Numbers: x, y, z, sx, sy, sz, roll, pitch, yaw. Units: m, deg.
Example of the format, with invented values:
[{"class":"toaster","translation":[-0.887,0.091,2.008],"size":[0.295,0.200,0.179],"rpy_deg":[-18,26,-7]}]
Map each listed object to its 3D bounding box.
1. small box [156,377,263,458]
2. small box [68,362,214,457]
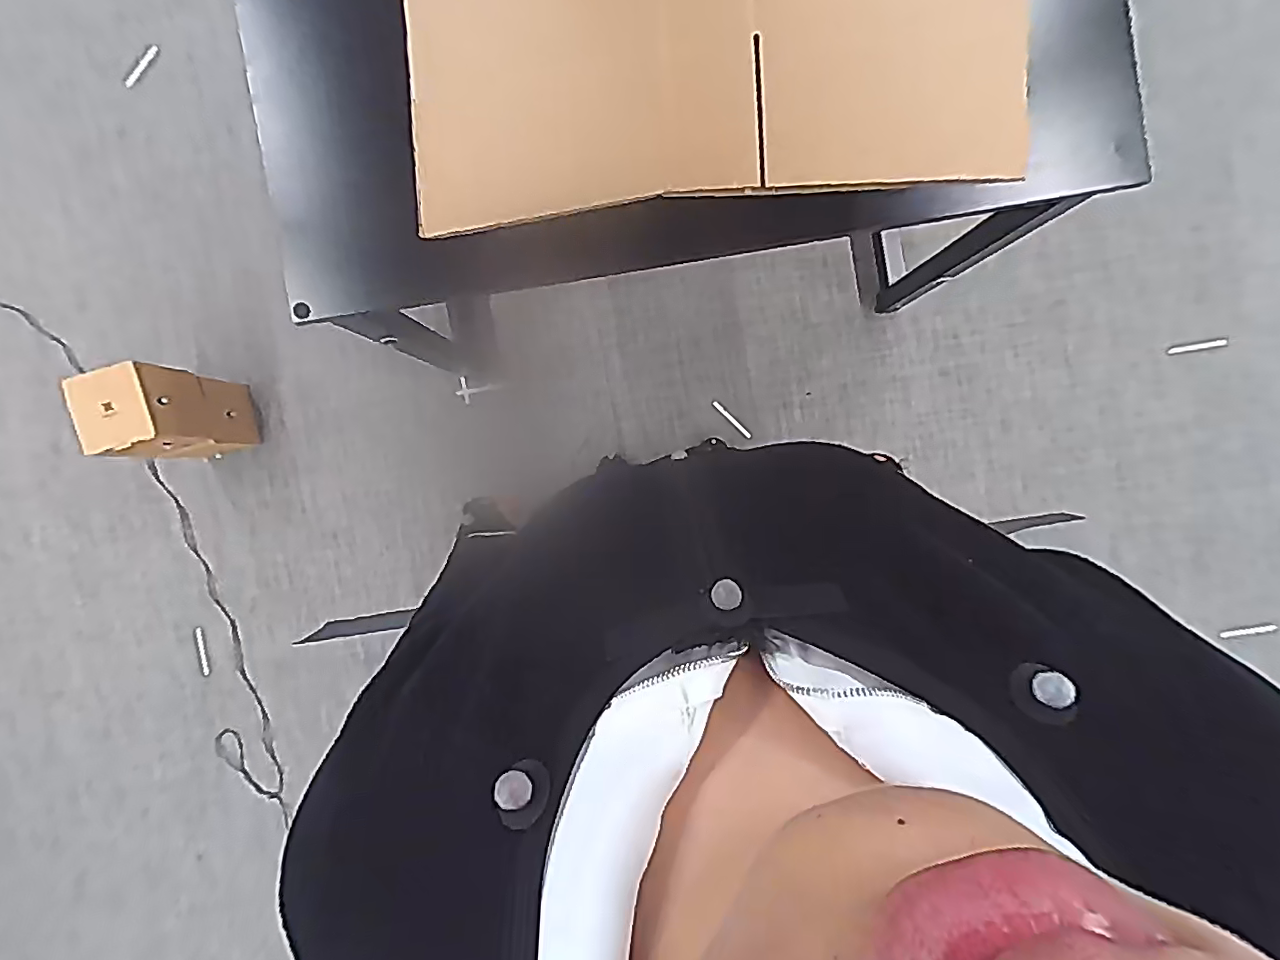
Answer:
[{"class":"small box","translation":[-1.145,-0.159,1.424],"size":[0.168,0.176,0.179],"rpy_deg":[-13,93,1]},{"class":"small box","translation":[-1.149,-0.158,1.262],"size":[0.168,0.176,0.179],"rpy_deg":[-16,91,0]}]
